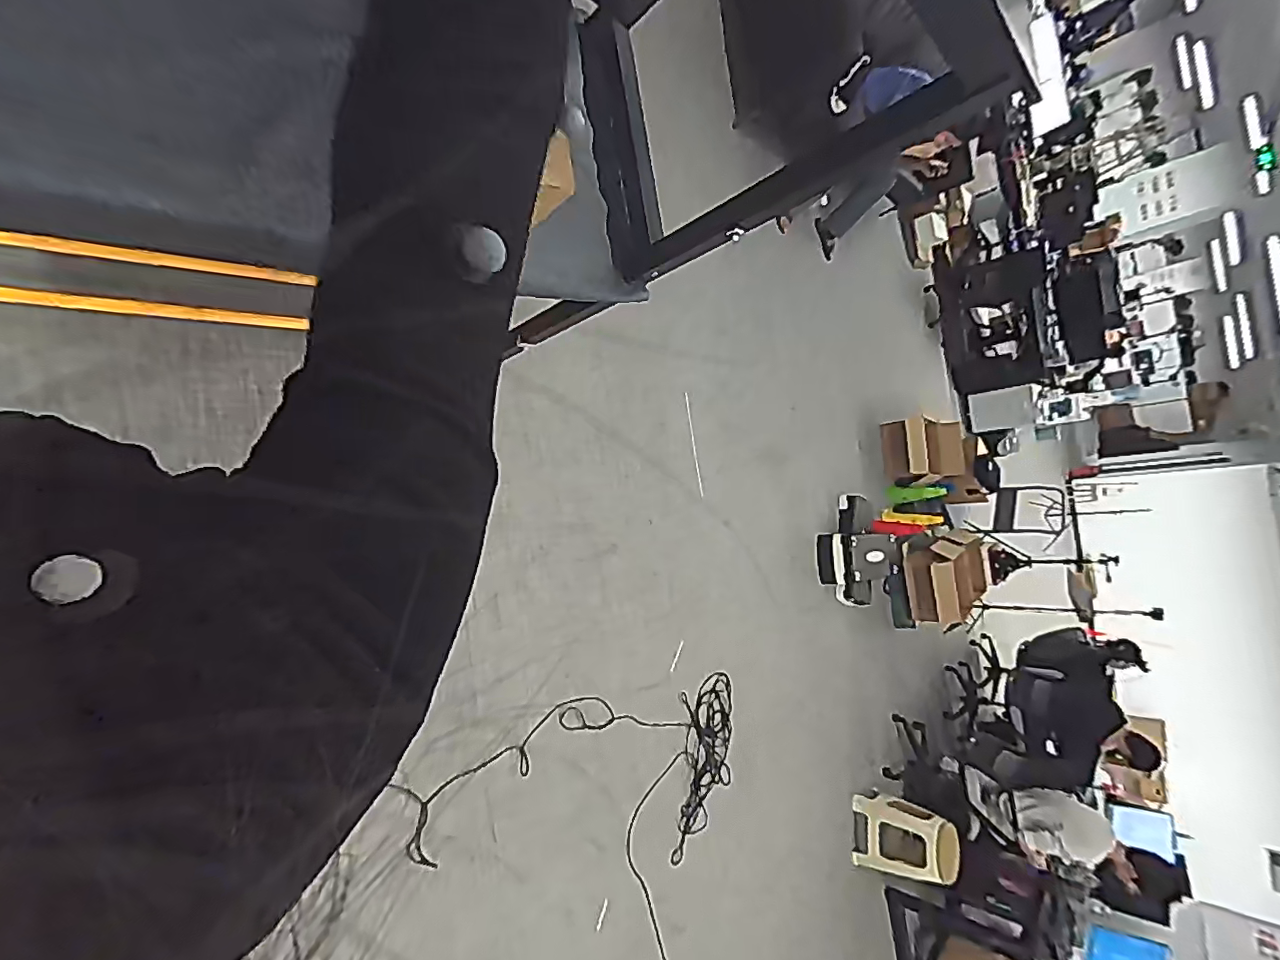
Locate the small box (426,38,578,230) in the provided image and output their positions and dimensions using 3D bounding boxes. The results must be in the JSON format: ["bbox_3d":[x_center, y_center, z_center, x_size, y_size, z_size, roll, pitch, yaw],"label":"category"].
[{"bbox_3d":[-0.228,-0.543,0.878,0.168,0.176,0.179,-9,89,-45],"label":"small box"}]
